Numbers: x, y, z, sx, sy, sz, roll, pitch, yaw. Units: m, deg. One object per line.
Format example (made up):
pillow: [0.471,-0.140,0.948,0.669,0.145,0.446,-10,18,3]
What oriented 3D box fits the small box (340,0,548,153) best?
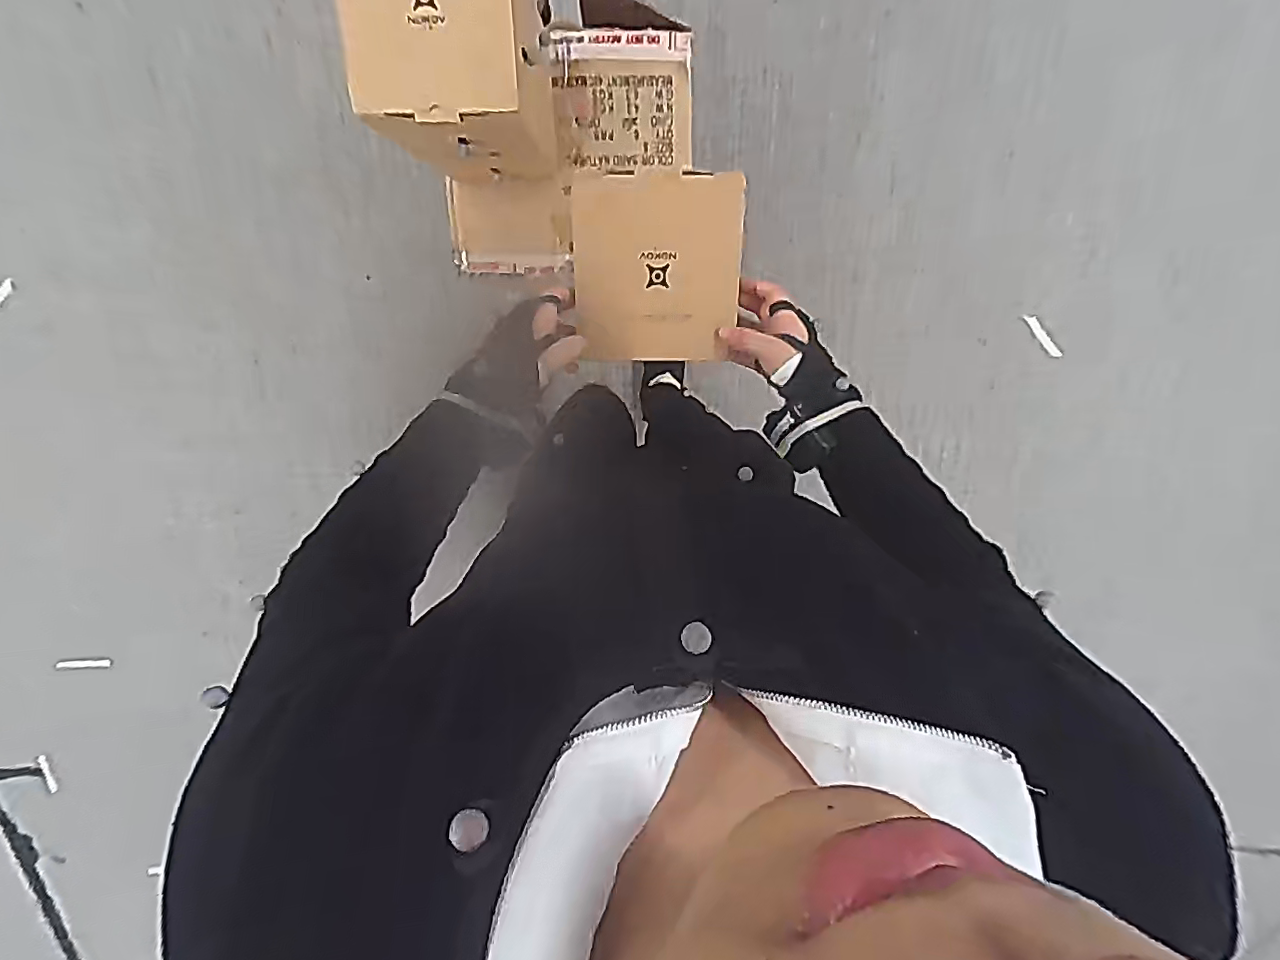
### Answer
small box: [-0.196,-0.464,0.581,0.168,0.176,0.179,-1,110,0]

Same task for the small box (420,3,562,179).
small box: [-0.203,-0.526,0.734,0.168,0.176,0.179,-3,109,1]

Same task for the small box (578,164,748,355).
small box: [0.021,-0.244,0.613,0.168,0.176,0.179,-2,113,0]
